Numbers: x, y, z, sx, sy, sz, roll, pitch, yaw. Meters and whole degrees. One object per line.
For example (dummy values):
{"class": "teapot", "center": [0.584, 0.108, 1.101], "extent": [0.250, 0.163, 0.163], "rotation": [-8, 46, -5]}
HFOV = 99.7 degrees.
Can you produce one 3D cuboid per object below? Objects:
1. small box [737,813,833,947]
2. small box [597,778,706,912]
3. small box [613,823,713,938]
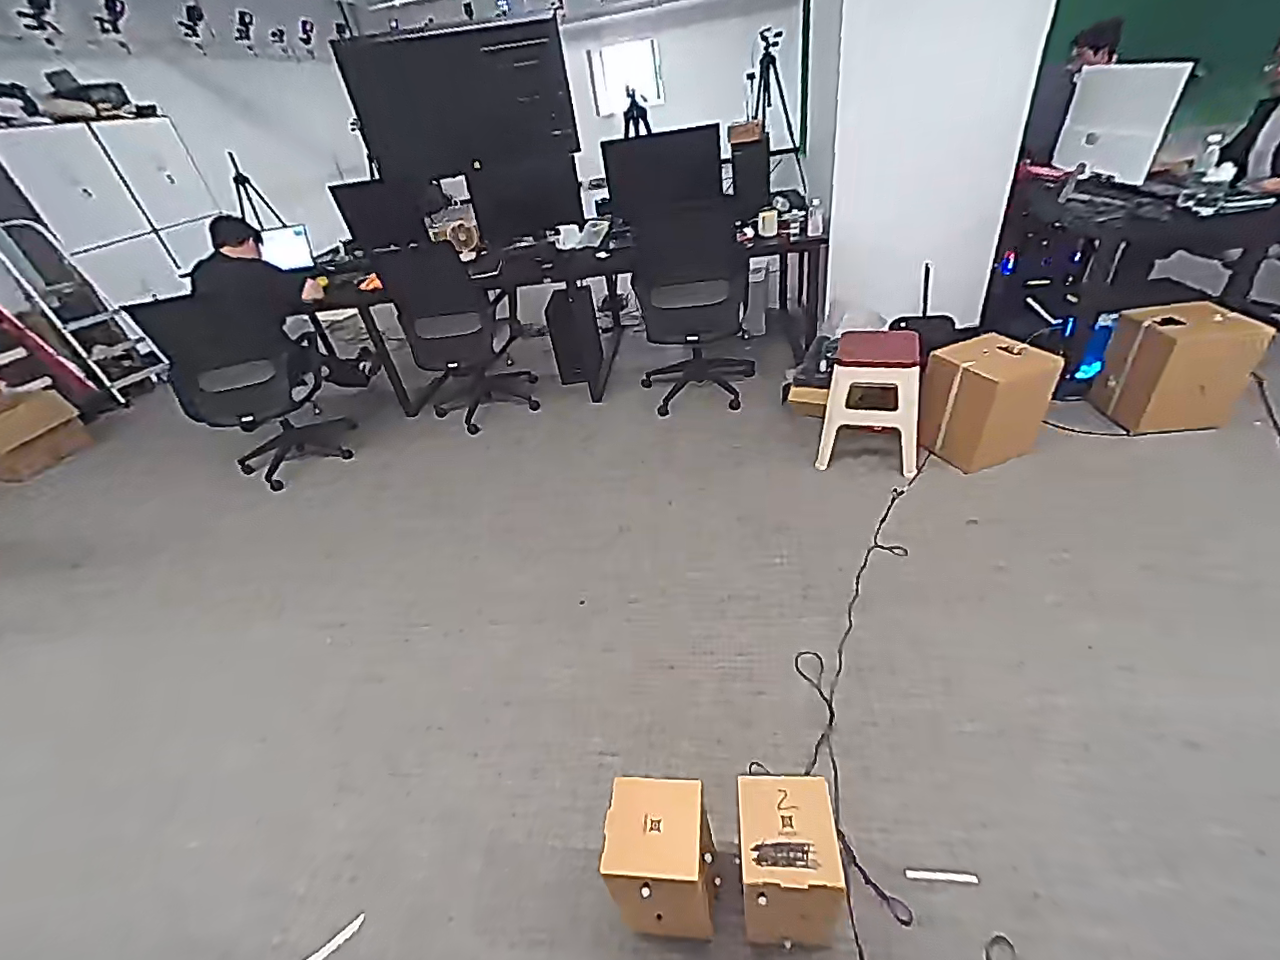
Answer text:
{"class": "small box", "center": [0.285, 0.806, 1.093], "extent": [0.168, 0.176, 0.179], "rotation": [-4, 37, 8]}
{"class": "small box", "center": [0.031, 0.696, 1.031], "extent": [0.179, 0.176, 0.168], "rotation": [-4, 36, 11]}
{"class": "small box", "center": [0.056, 0.824, 1.125], "extent": [0.179, 0.176, 0.168], "rotation": [-5, 37, 10]}
